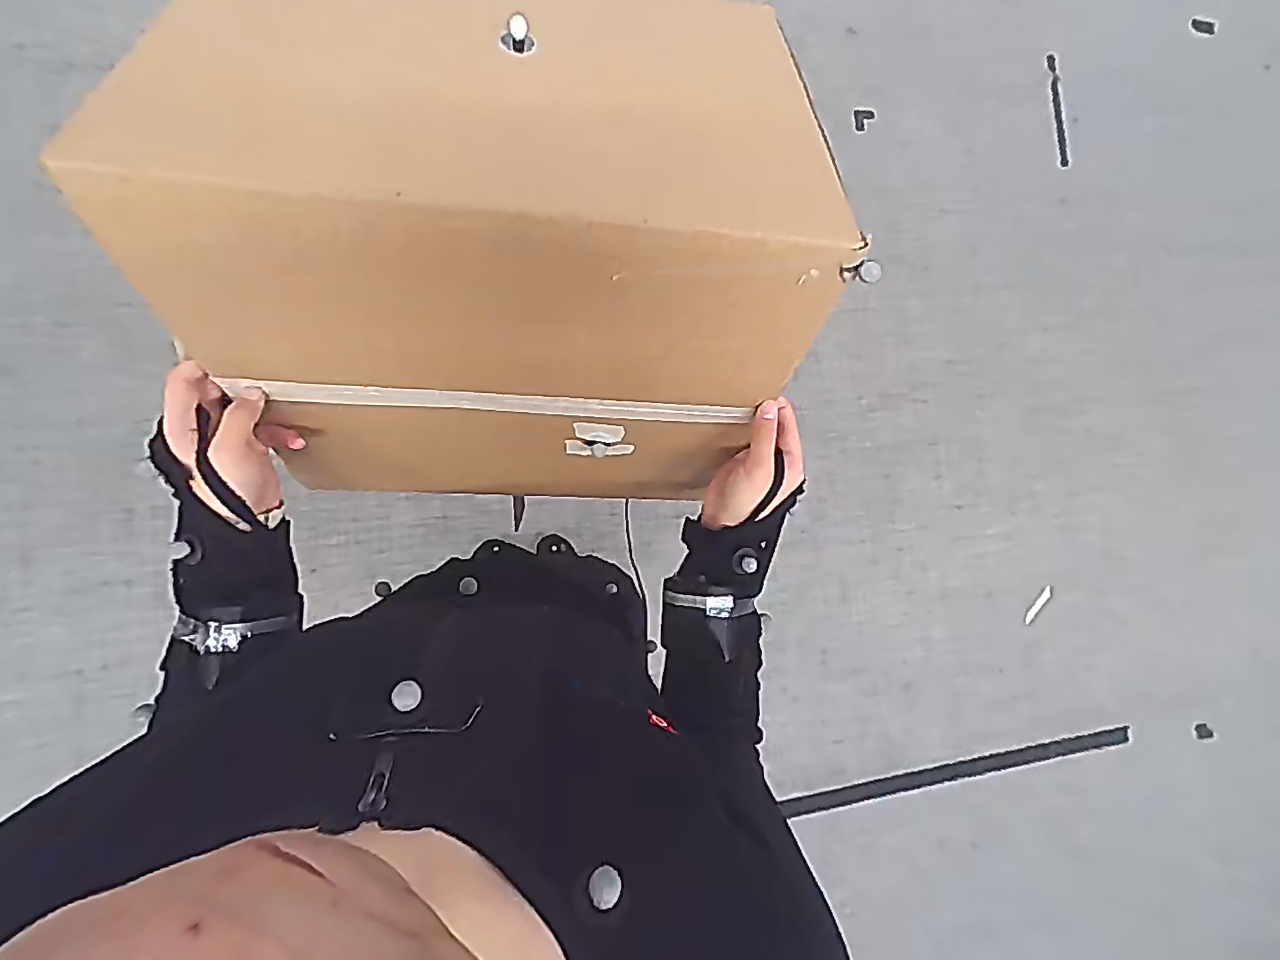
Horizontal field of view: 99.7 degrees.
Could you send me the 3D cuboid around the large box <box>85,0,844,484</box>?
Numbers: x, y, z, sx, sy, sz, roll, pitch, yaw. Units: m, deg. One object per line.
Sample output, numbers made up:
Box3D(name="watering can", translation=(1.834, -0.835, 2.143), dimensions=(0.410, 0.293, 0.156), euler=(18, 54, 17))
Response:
Box3D(name="large box", translation=(-0.105, -0.203, 0.487), dimensions=(0.408, 0.320, 0.320), euler=(1, 62, -9))
